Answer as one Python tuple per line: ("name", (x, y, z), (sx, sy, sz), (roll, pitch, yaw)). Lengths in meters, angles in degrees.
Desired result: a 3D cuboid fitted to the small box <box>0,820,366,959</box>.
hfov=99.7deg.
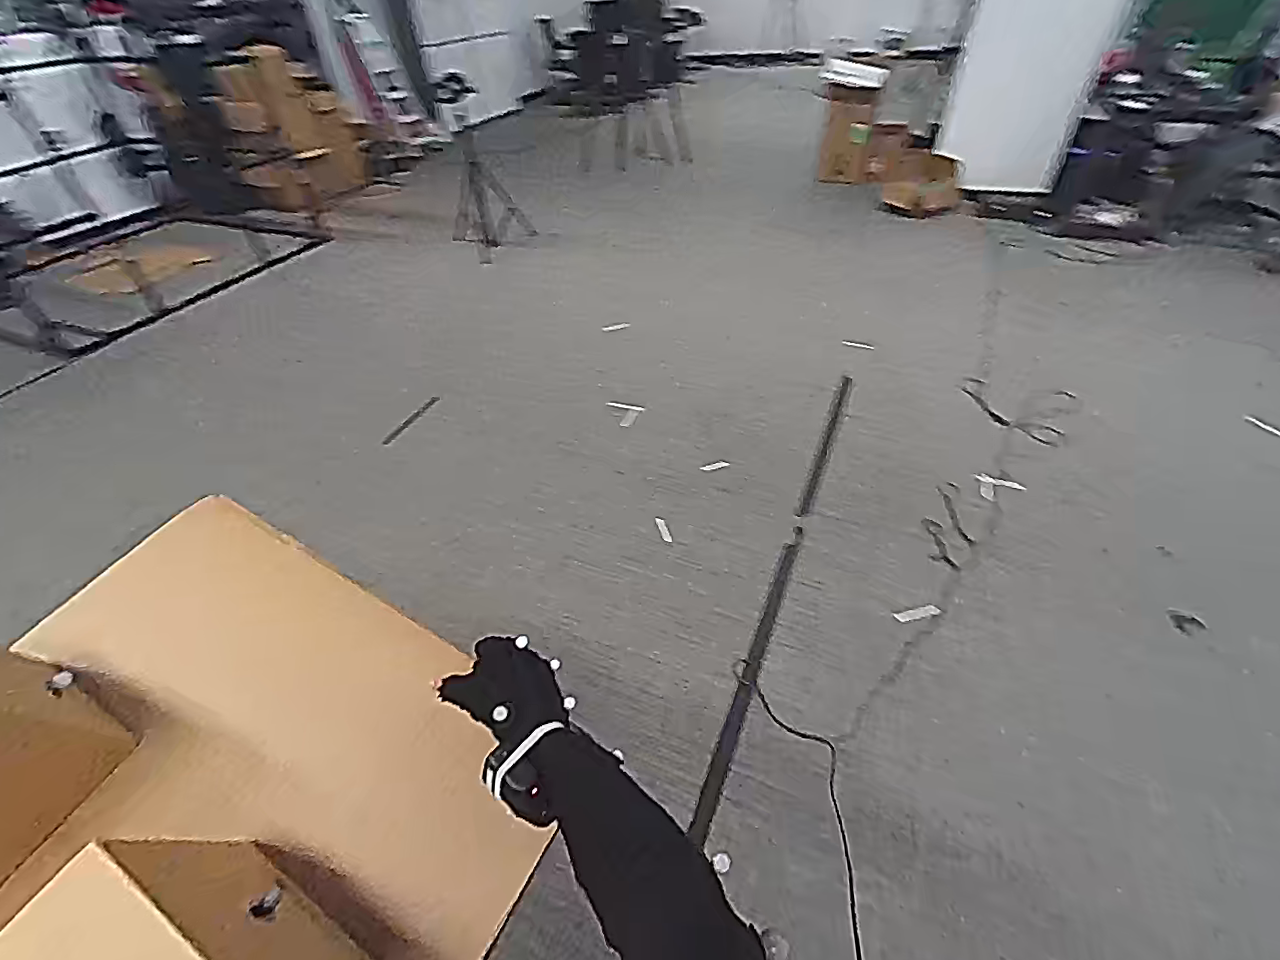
("small box", (-0.321, 0.369, 0.367), (0.168, 0.176, 0.179), (28, 61, 19))
